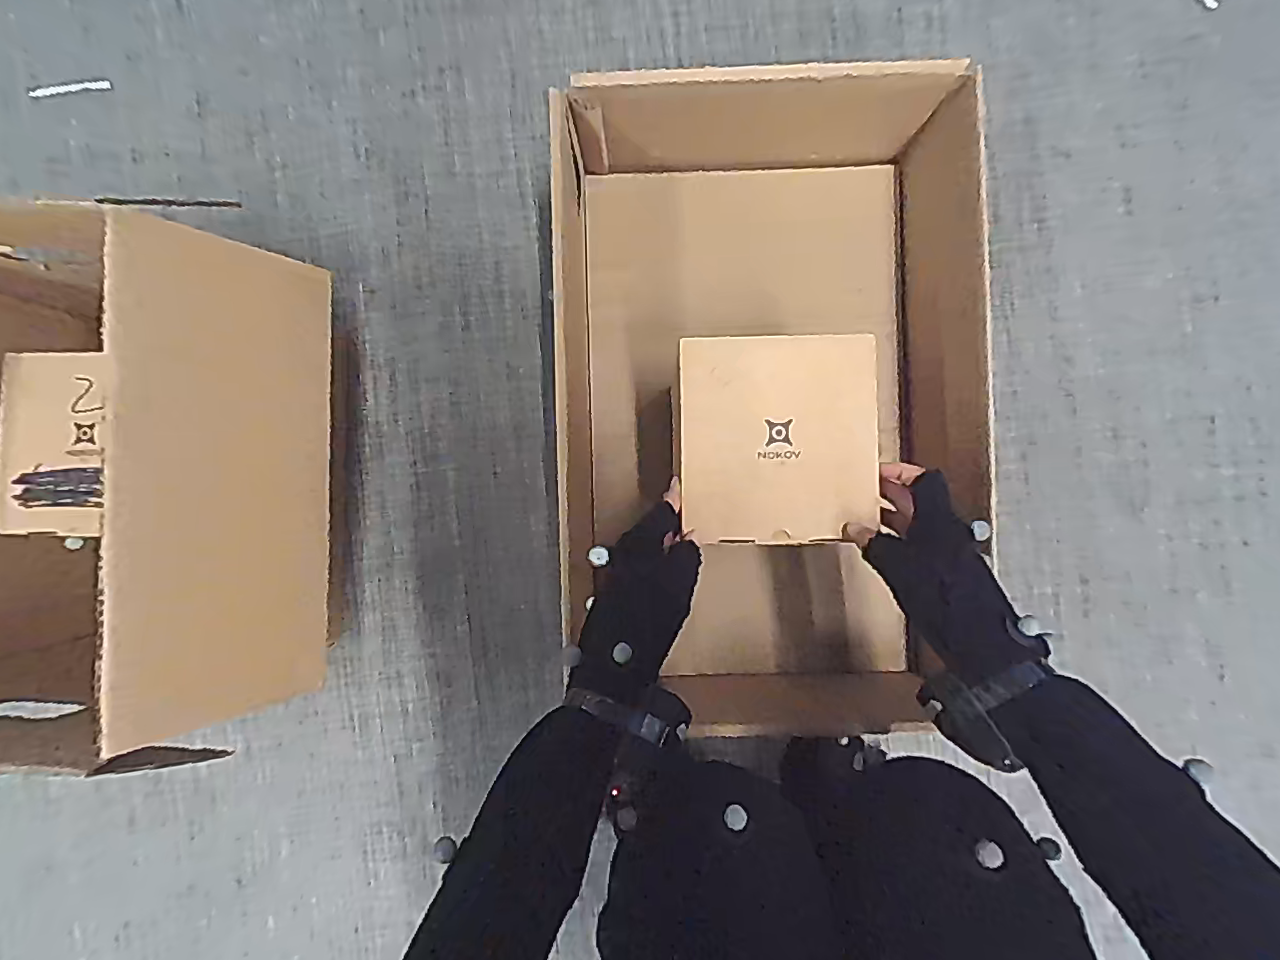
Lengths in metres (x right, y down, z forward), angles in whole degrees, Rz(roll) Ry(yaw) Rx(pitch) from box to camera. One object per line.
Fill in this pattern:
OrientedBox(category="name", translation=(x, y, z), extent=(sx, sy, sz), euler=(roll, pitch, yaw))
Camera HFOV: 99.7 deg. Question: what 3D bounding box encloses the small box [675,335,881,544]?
OrientedBox(category="small box", translation=(0.119, -0.030, 0.532), extent=(0.168, 0.176, 0.179), euler=(-2, 88, 3))
